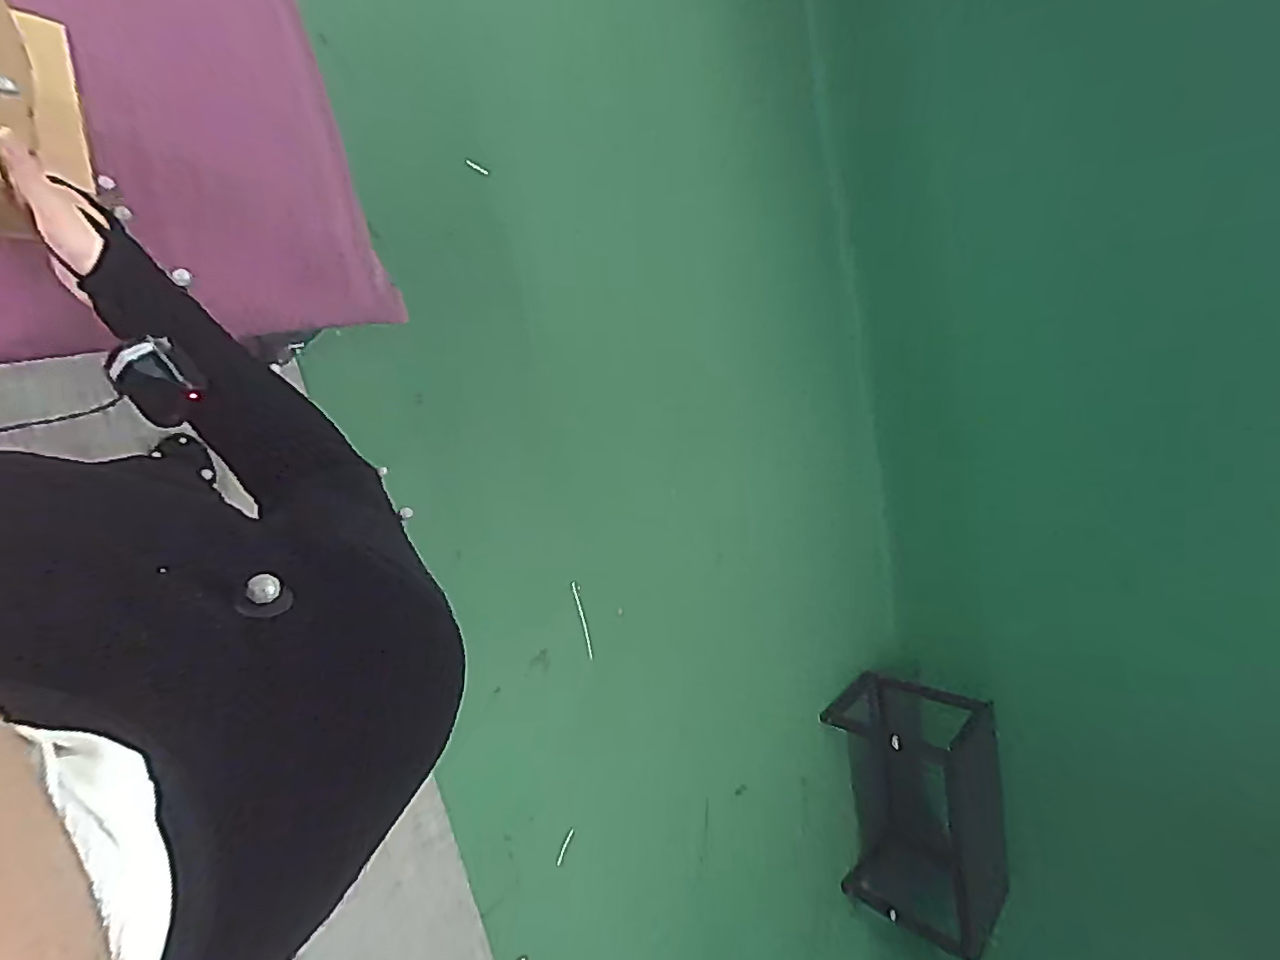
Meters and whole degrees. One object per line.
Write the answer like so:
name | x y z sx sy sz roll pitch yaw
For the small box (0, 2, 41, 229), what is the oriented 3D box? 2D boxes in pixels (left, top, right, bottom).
small box | -0.572 -0.298 0.377 0.179 0.176 0.168 -3 94 -38

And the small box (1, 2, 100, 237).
small box | -0.685 -0.364 0.545 0.179 0.176 0.168 -10 97 -42
